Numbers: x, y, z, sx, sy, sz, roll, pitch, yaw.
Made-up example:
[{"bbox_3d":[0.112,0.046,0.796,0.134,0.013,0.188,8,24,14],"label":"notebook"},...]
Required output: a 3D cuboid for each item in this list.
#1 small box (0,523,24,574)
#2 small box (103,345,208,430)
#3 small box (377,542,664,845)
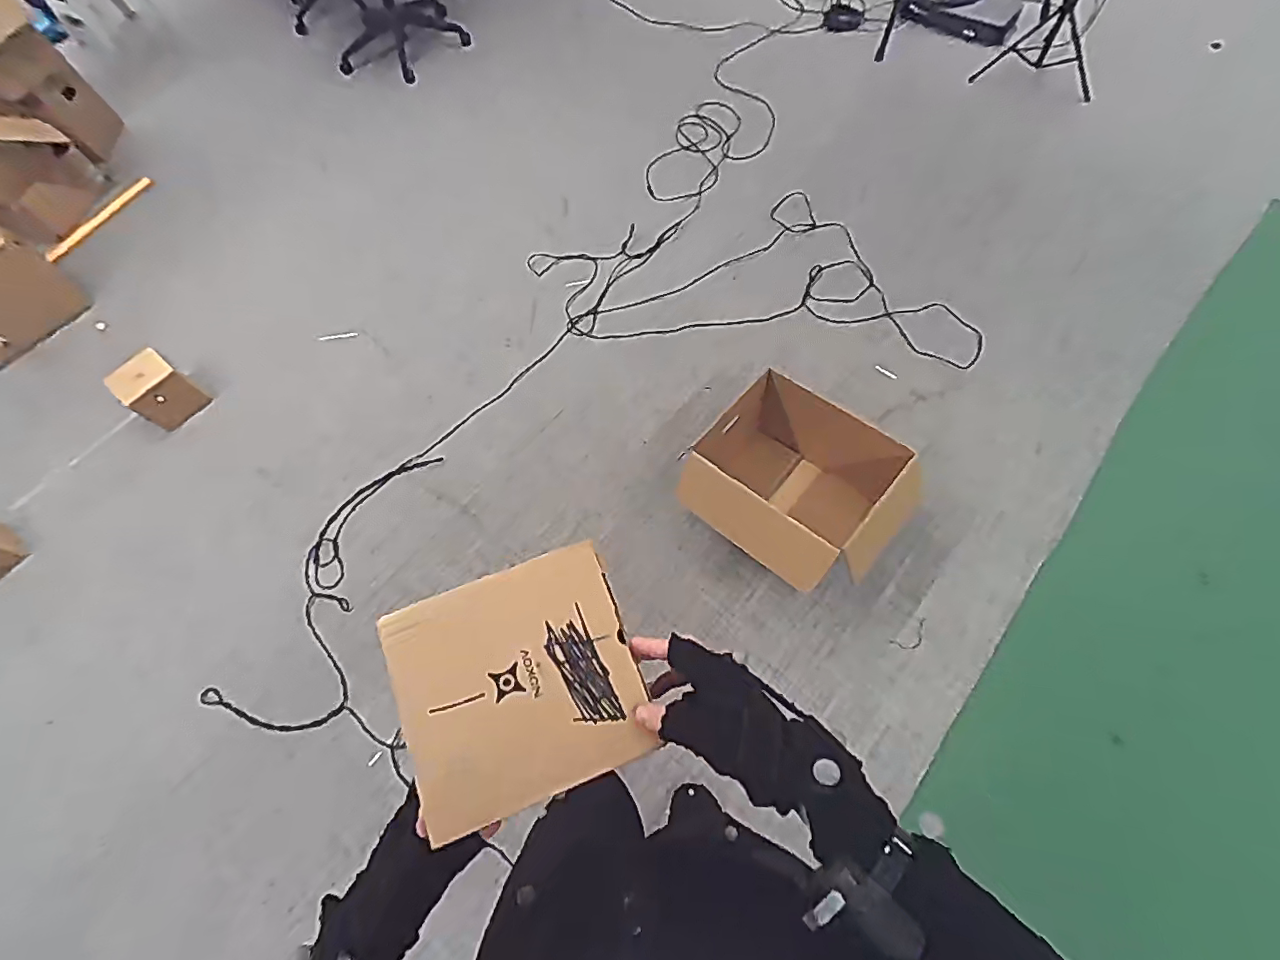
[{"bbox_3d":[-2.007,0.203,1.592,0.179,0.176,0.168,35,73,19],"label":"small box"},{"bbox_3d":[-1.588,-0.302,1.790,0.168,0.176,0.179,35,73,19],"label":"small box"},{"bbox_3d":[-0.095,0.171,0.472,0.179,0.176,0.168,-19,73,-9],"label":"small box"}]
